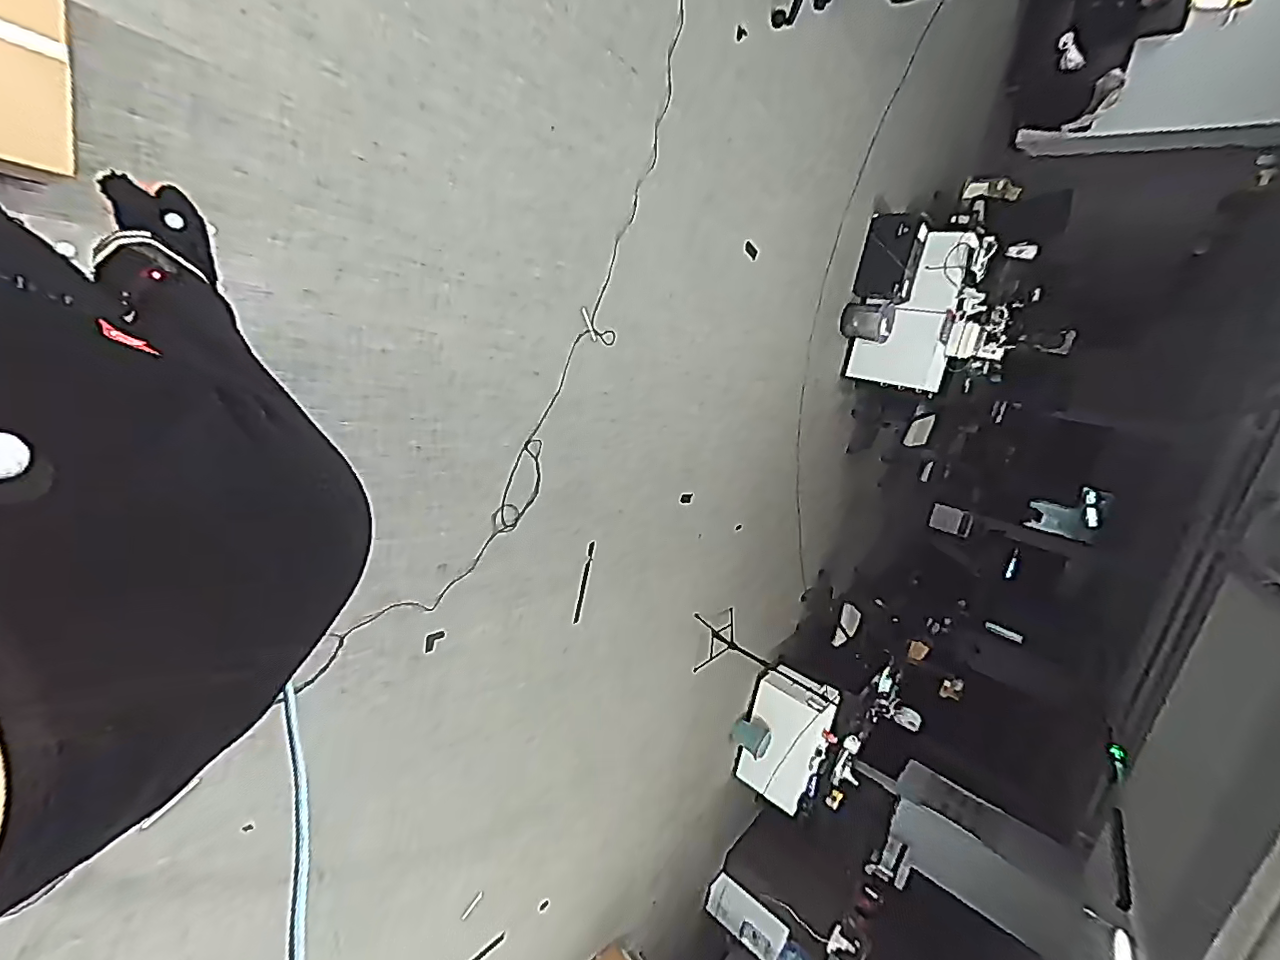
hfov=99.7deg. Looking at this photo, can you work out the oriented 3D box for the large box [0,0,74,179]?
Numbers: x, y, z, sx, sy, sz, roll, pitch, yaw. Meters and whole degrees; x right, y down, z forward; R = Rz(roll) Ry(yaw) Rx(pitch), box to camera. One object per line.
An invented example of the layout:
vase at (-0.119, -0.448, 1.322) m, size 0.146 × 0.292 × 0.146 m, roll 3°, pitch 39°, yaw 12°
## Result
large box at (-1.035, -0.618, 0.680) m, size 0.408 × 0.320 × 0.320 m, roll -7°, pitch 112°, yaw -52°
